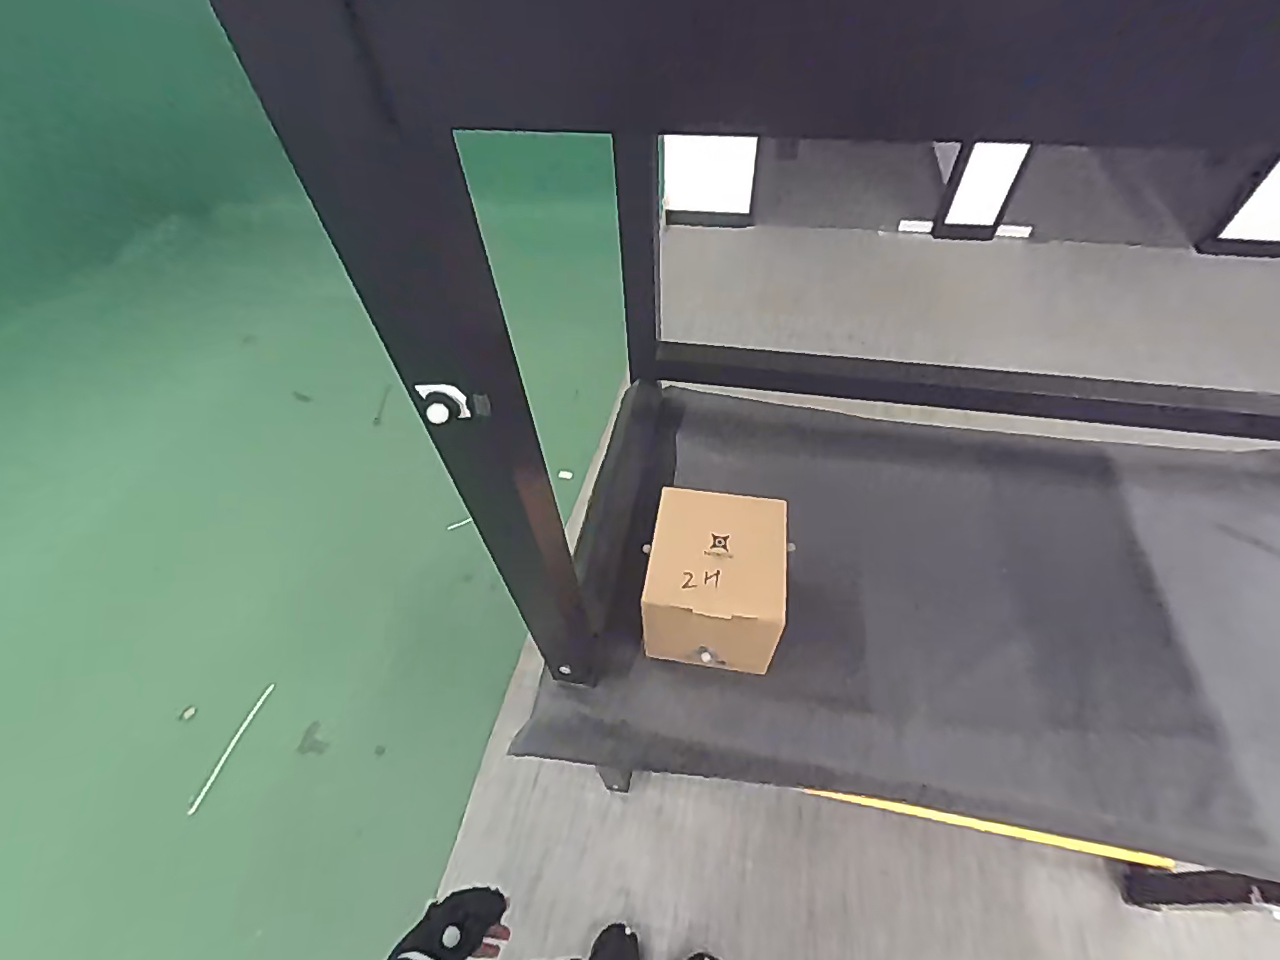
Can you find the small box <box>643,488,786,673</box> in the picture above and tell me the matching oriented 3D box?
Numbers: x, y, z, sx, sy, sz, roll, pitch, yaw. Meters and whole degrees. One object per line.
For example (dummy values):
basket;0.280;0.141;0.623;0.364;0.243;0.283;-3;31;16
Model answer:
small box;0.099;0.137;0.731;0.168;0.176;0.179;6;51;8
